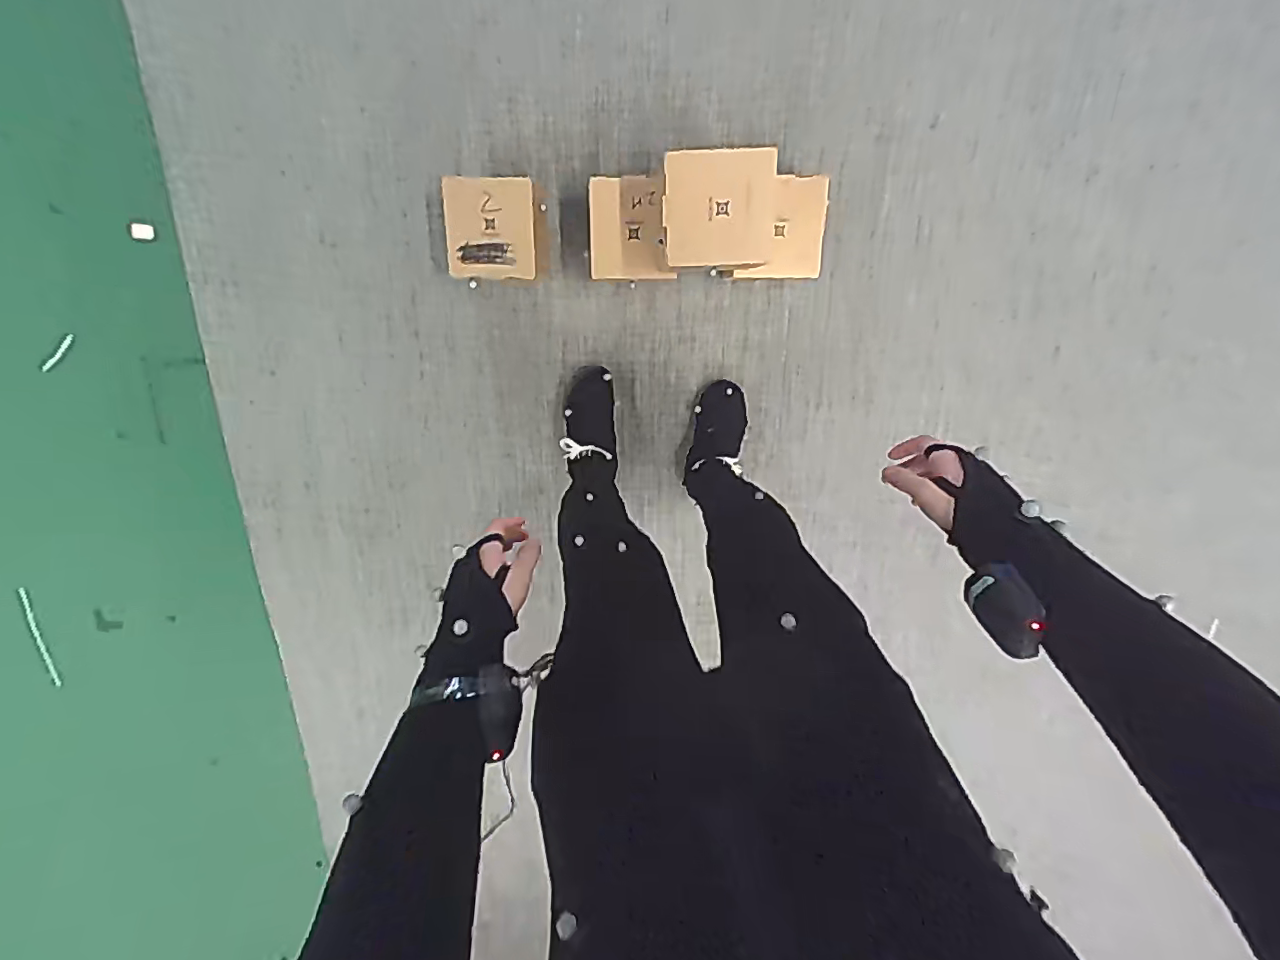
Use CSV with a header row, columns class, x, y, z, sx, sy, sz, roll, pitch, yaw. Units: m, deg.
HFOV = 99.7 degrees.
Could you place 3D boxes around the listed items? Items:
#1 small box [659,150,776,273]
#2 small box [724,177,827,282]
class,x,y,z,sx,sy,sz,roll,pitch,yaw
small box,0.122,-0.446,0.921,0.179,0.176,0.168,-2,108,-1
small box,0.258,-0.491,1.077,0.168,0.176,0.179,0,108,1
